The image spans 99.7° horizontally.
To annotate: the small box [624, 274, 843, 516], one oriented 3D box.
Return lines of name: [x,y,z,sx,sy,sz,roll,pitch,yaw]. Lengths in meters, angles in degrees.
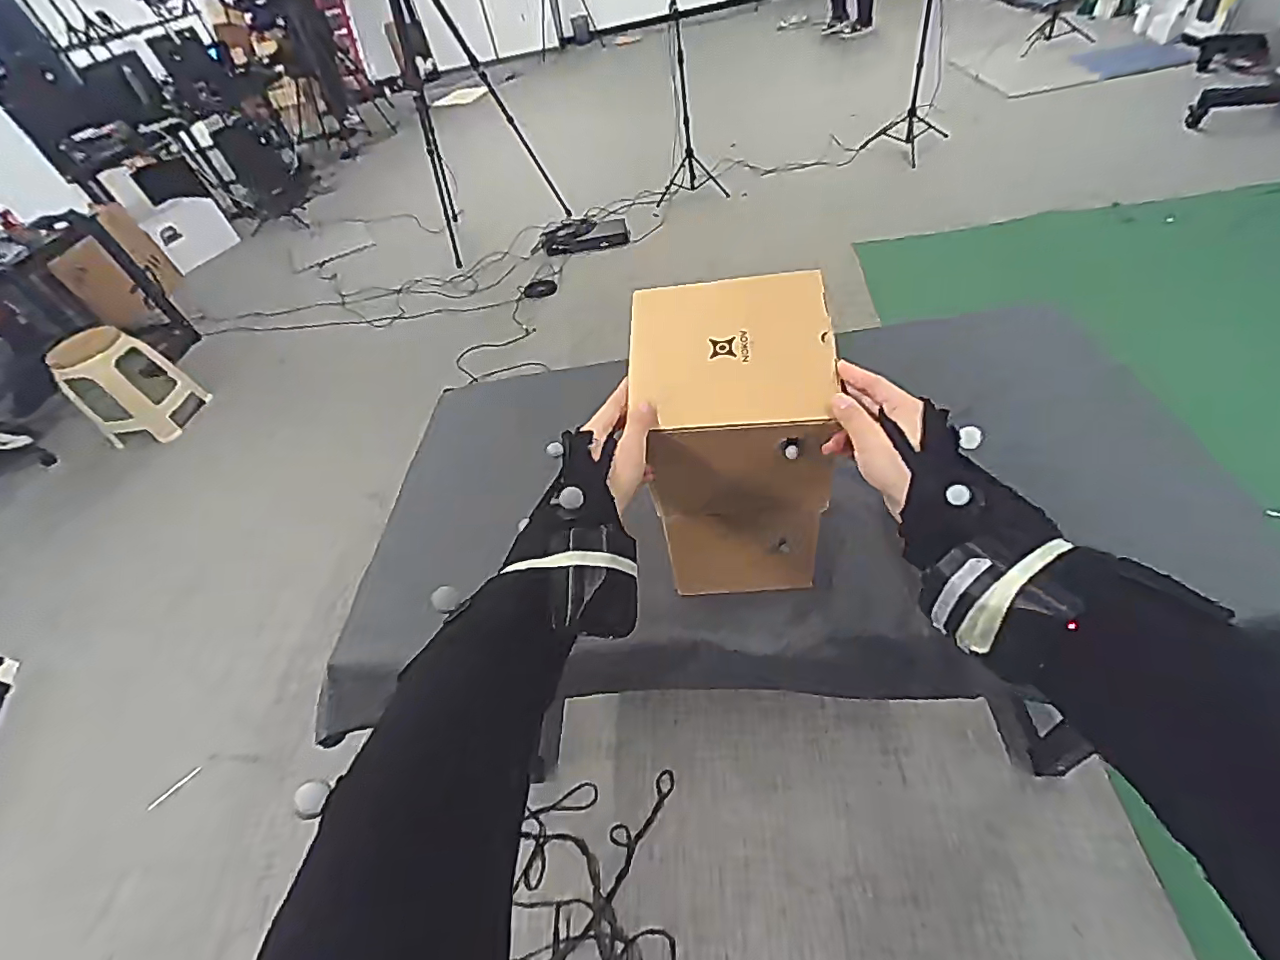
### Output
small box: [0.089,-0.072,0.533,0.179,0.176,0.168,-3,60,9]
